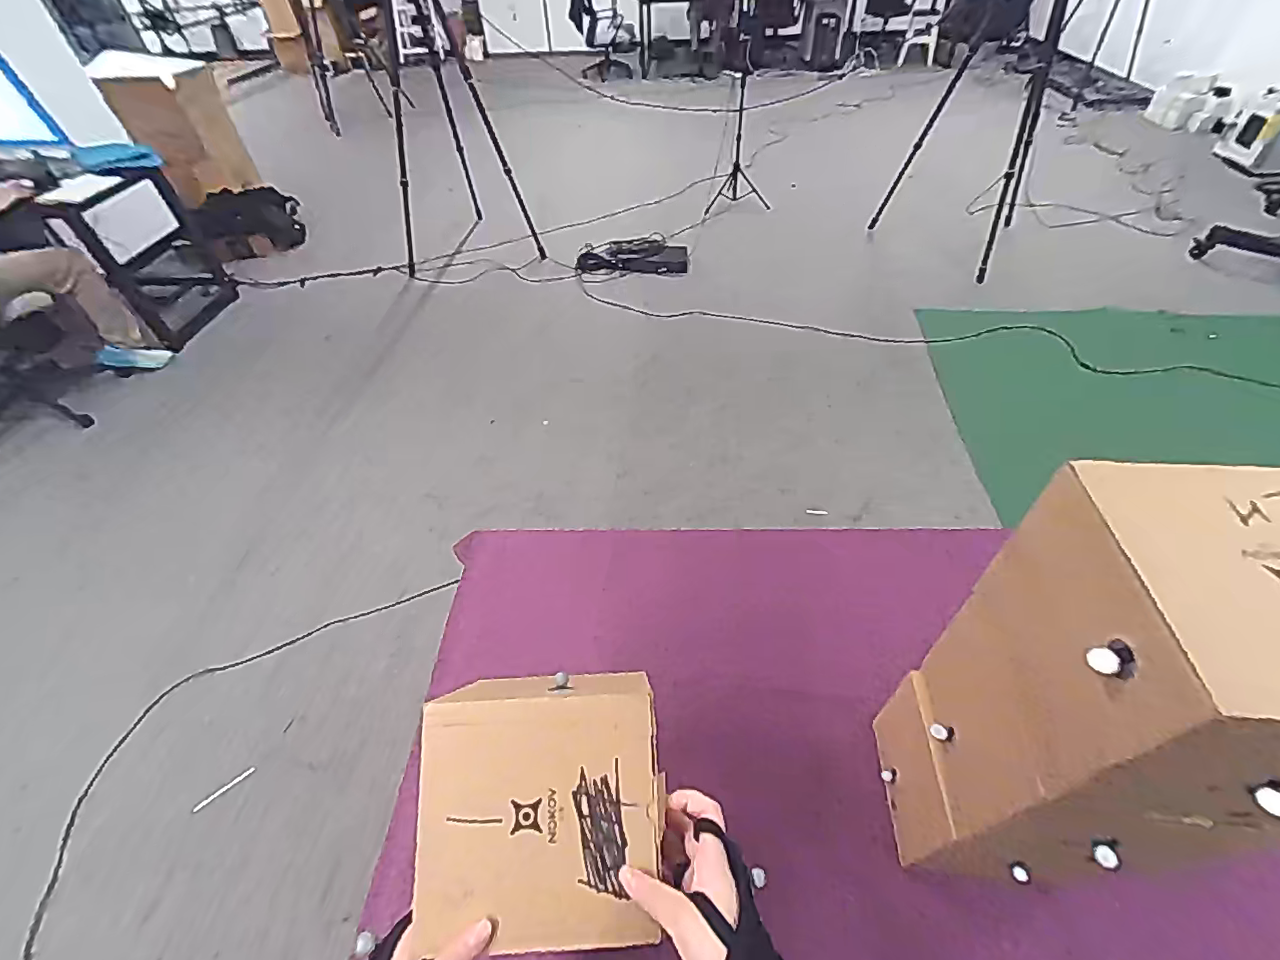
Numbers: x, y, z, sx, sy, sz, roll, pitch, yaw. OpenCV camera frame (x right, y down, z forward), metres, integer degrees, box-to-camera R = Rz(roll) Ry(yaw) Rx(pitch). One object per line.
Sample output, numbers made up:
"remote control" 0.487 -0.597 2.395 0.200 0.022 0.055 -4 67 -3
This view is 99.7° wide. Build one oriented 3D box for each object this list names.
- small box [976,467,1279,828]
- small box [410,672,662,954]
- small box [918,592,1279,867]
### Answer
"small box" 0.365 0.113 0.365 0.168 0.176 0.179 3 47 7
"small box" -0.076 0.263 0.469 0.179 0.176 0.168 -1 76 -1
"small box" 0.375 0.225 0.486 0.168 0.176 0.179 4 48 7
